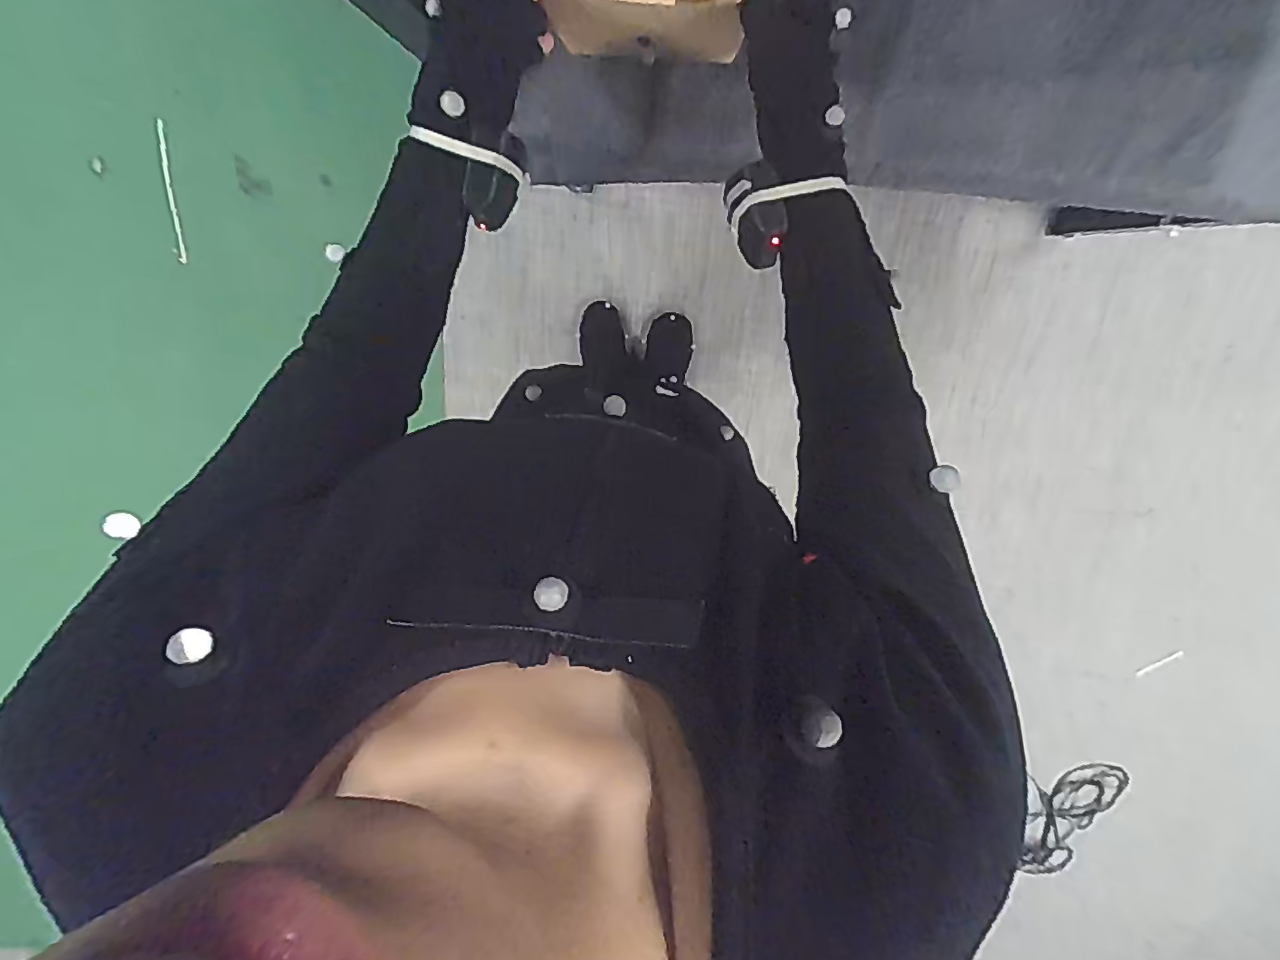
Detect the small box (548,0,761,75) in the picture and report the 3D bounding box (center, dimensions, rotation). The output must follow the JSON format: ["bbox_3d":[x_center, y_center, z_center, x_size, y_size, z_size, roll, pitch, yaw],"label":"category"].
[{"bbox_3d":[0.014,-0.453,0.428,0.168,0.176,0.179,4,116,1],"label":"small box"}]

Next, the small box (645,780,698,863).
[{"bbox_3d":[0.107,1.187,1.883,0.168,0.176,0.179,3,109,0],"label":"small box"}]
